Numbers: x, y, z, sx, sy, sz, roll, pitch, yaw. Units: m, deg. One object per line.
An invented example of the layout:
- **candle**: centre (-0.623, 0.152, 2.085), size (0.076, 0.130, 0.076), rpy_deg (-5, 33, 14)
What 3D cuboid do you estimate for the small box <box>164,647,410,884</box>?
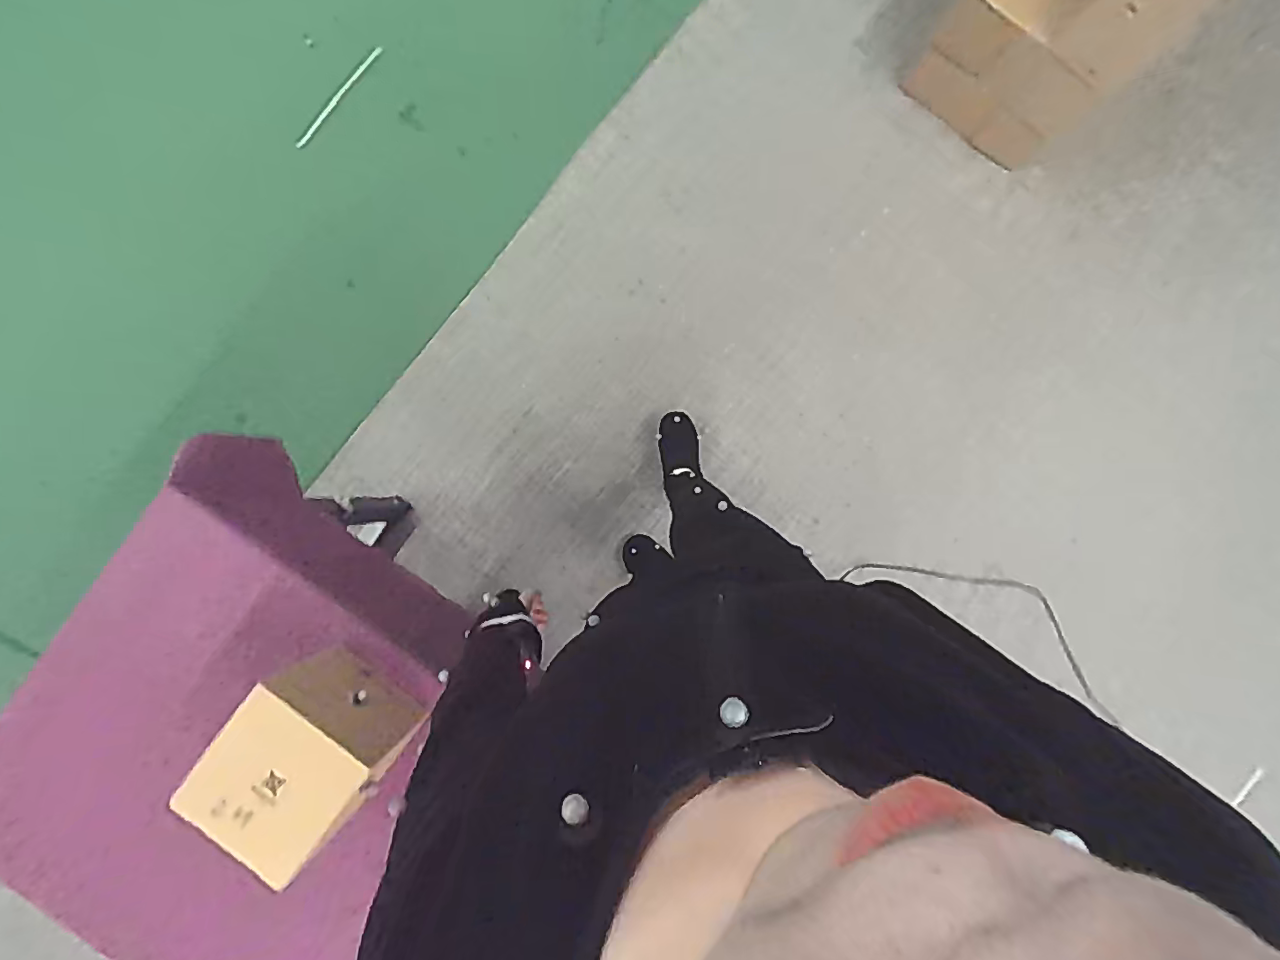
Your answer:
- **small box**: centre (-0.428, 0.345, 0.695), size (0.168, 0.176, 0.179), rpy_deg (37, 90, 2)
